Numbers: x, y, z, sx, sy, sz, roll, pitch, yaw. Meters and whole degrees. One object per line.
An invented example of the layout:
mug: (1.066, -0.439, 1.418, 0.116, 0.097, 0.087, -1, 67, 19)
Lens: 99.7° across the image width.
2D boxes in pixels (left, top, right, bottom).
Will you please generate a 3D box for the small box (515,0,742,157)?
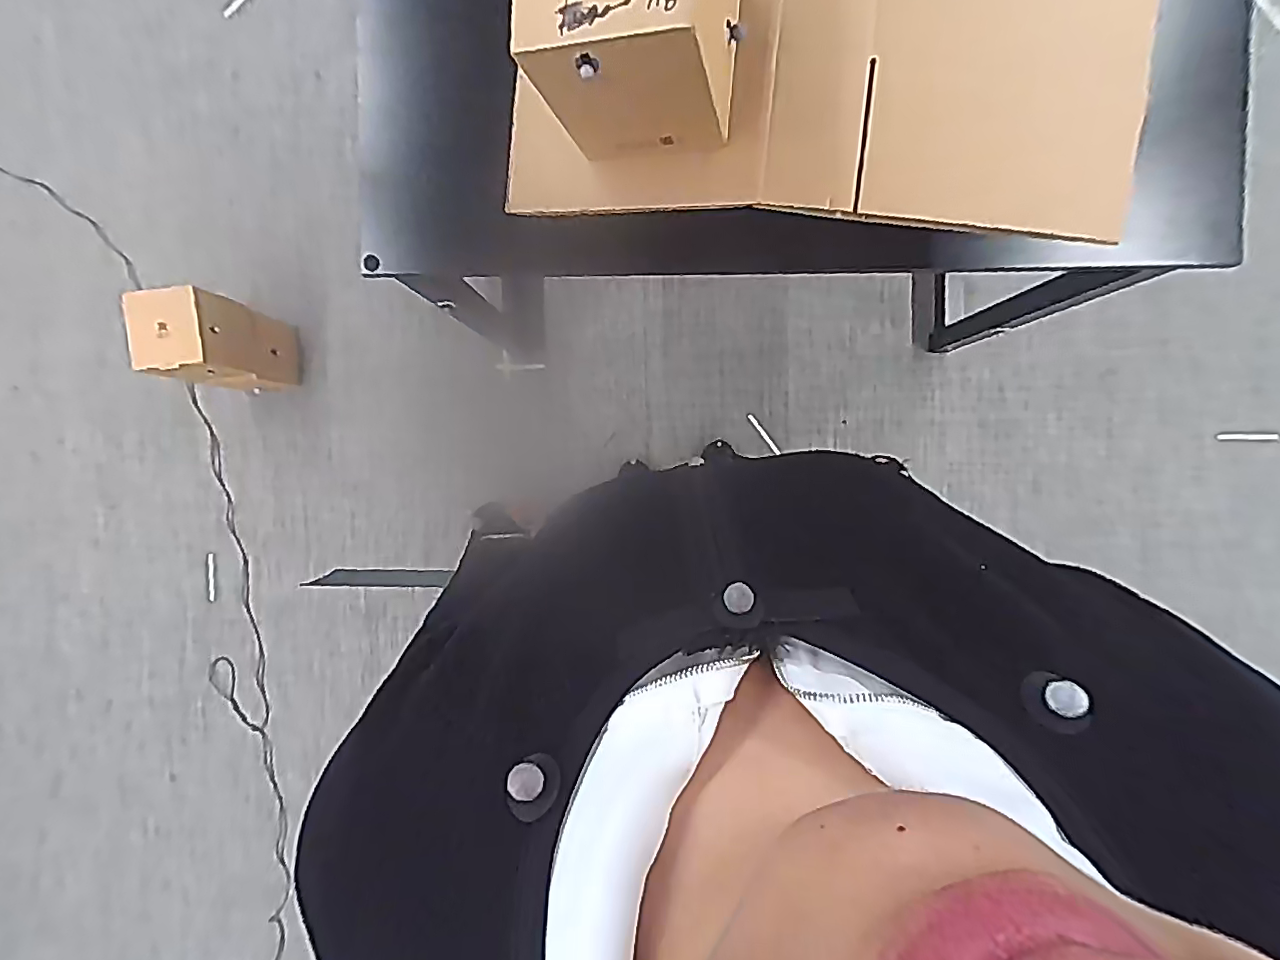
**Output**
small box: (0.001, -0.448, 0.518, 0.168, 0.176, 0.179, 6, 92, 18)

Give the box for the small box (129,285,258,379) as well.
small box: (-1.047, -0.342, 1.284, 0.168, 0.176, 0.179, -7, 91, 2)

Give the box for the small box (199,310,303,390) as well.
small box: (-1.039, -0.343, 1.447, 0.168, 0.176, 0.179, -4, 93, 2)
